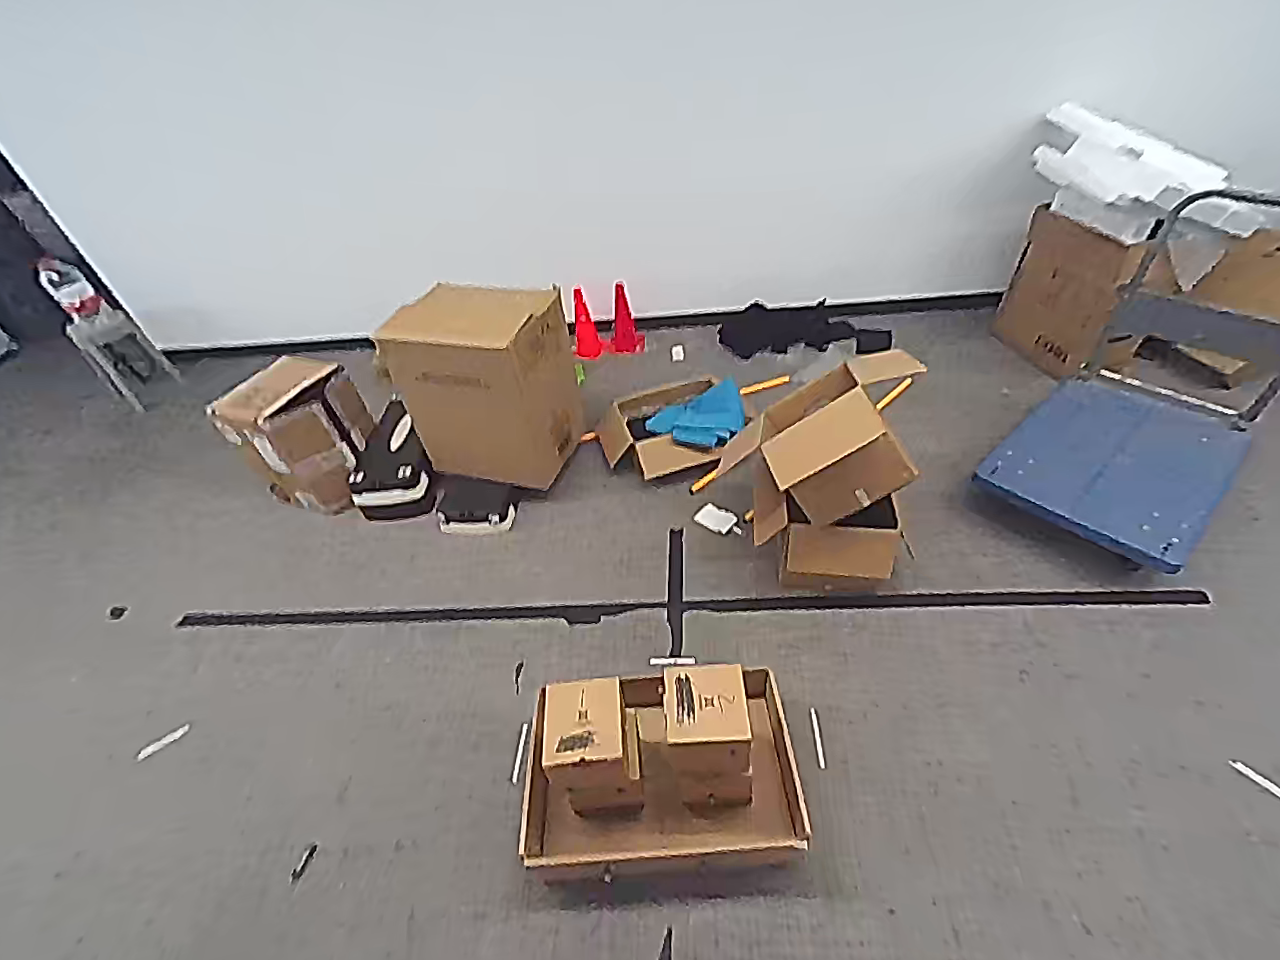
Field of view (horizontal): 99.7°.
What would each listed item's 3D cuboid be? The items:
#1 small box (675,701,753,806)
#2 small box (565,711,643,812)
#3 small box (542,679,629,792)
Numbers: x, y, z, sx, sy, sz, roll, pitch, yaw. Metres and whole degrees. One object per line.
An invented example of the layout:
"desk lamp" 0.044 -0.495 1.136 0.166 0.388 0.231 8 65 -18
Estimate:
"small box" 0.174 0.660 1.303 0.168 0.176 0.179 -6 43 3
"small box" -0.084 0.683 1.311 0.179 0.176 0.168 -6 41 0
"small box" -0.115 0.568 1.195 0.168 0.176 0.179 -6 41 -1
